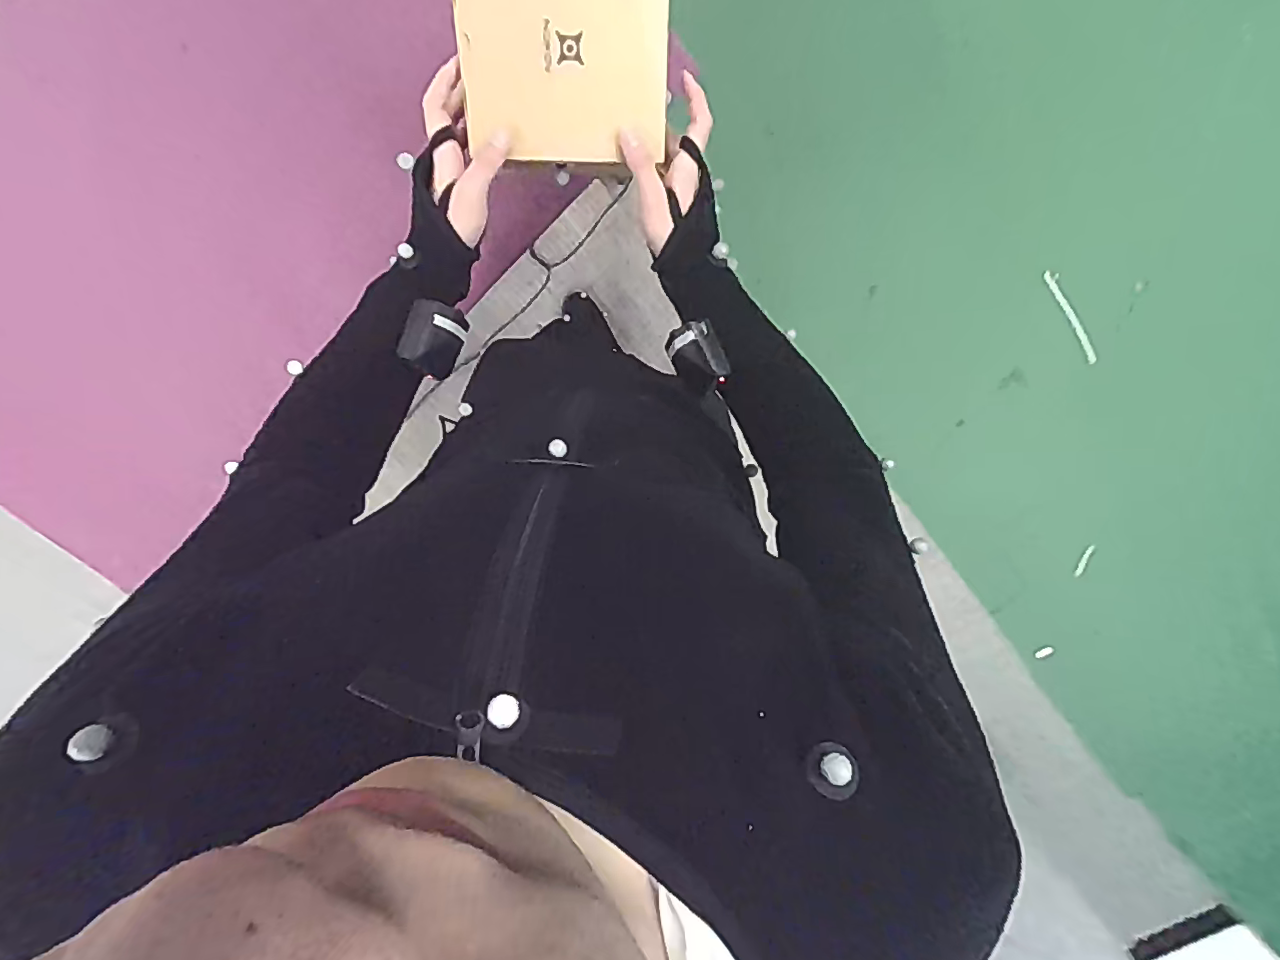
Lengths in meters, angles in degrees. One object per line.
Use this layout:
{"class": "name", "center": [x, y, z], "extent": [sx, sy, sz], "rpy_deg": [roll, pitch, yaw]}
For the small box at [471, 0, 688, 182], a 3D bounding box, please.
{"class": "small box", "center": [-0.057, -0.386, 0.521], "extent": [0.179, 0.176, 0.168], "rpy_deg": [-1, 117, -6]}
